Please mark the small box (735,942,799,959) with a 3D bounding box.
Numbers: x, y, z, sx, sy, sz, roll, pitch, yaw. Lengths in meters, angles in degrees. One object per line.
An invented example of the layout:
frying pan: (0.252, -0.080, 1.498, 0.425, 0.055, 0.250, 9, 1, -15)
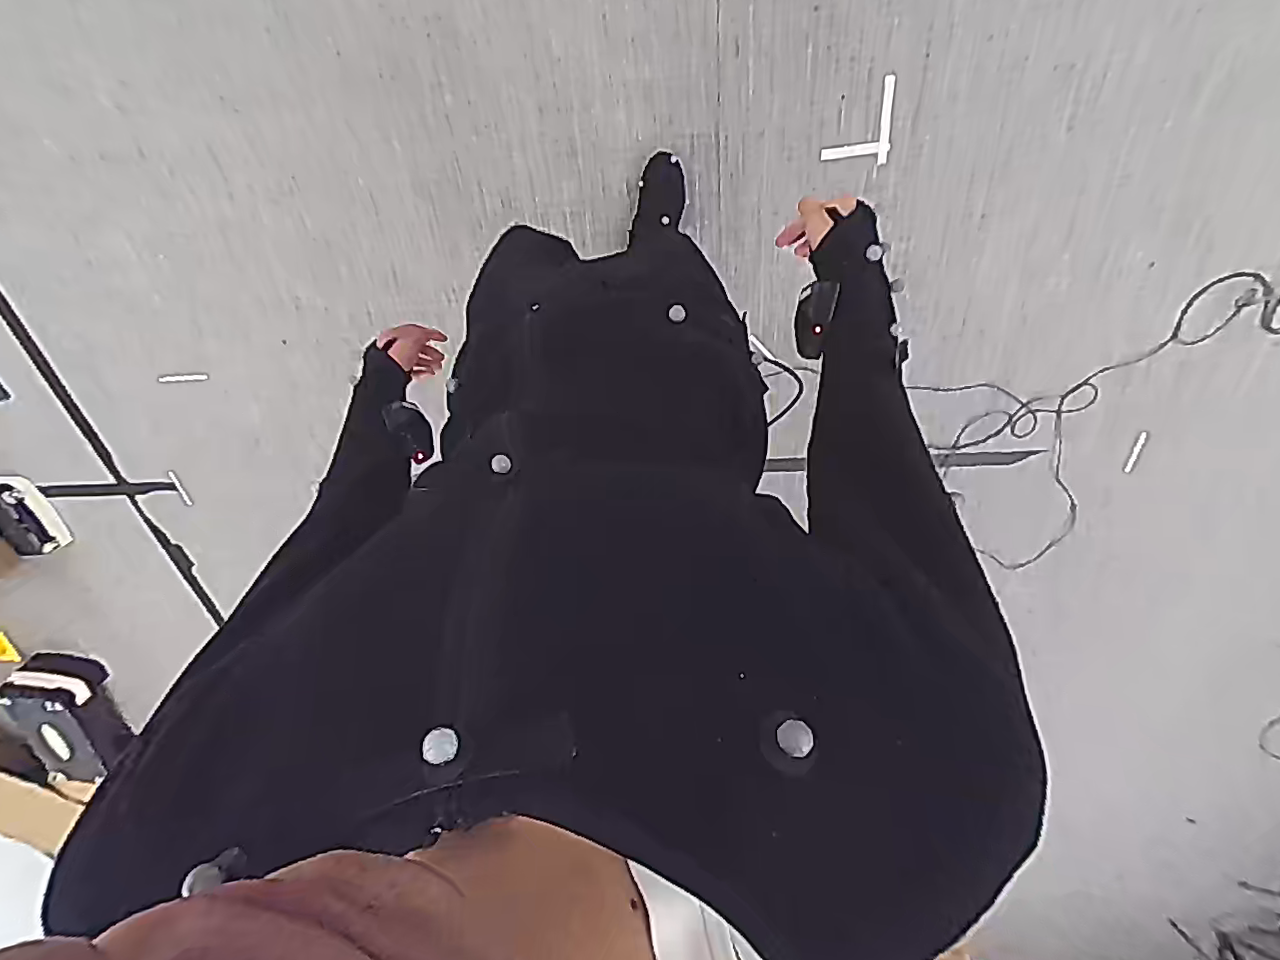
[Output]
small box: (0.364, 1.426, 1.512, 0.179, 0.176, 0.168, -5, 122, 5)
